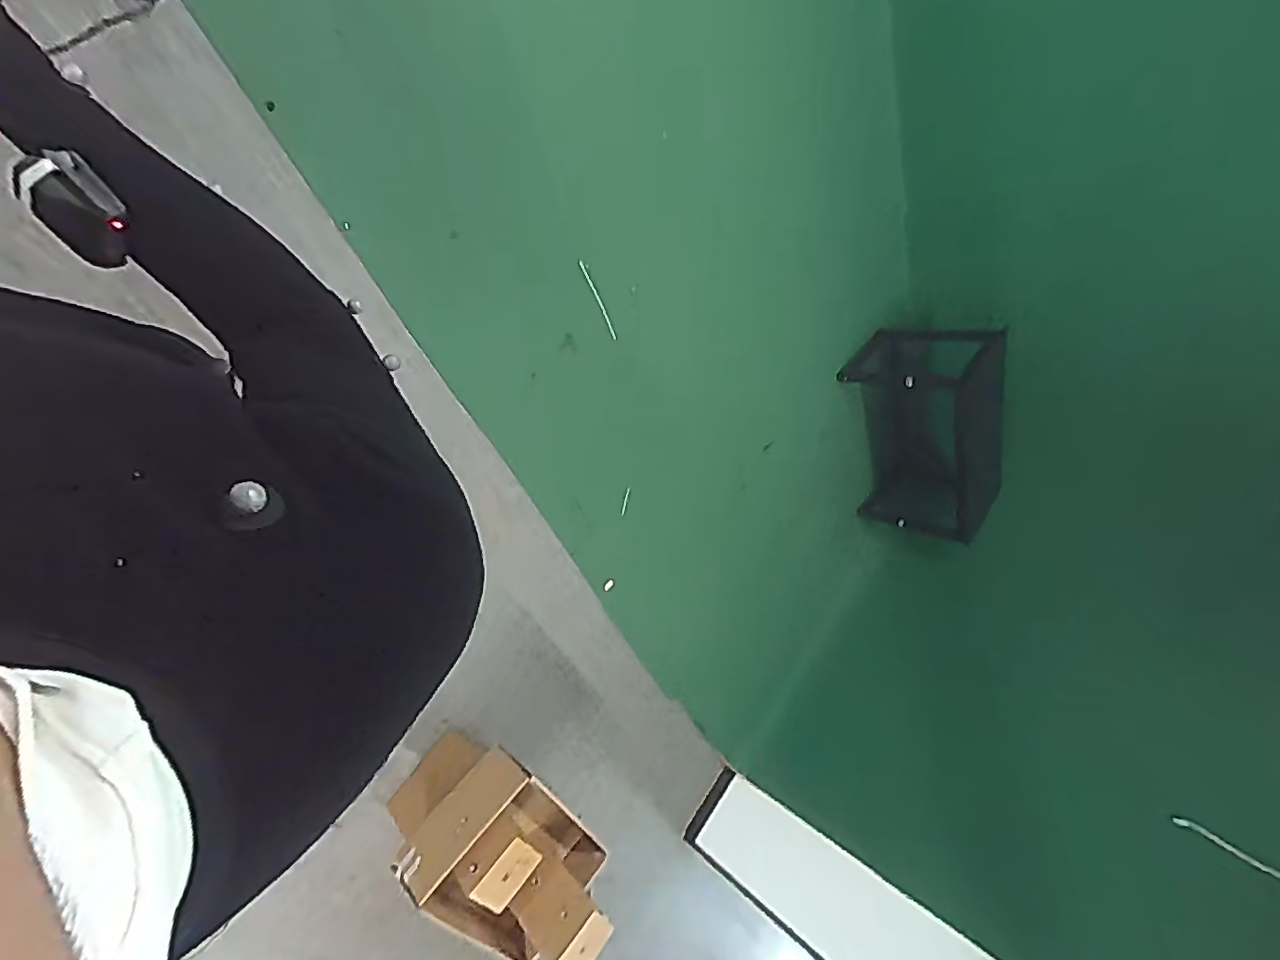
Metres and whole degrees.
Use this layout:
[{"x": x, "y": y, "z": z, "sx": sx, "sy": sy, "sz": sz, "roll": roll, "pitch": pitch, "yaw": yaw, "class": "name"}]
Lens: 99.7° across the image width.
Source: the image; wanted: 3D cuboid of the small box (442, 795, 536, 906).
[{"x": -0.441, "y": 1.059, "z": 1.555, "sx": 0.179, "sy": 0.176, "sz": 0.168, "roll": -46, "pitch": 131, "yaw": -26, "class": "small box"}]

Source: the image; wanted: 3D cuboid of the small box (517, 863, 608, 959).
[{"x": -0.232, "y": 1.295, "z": 1.607, "sx": 0.179, "sy": 0.176, "sz": 0.168, "roll": -44, "pitch": 128, "yaw": -28, "class": "small box"}]

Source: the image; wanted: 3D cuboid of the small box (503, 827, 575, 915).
[{"x": -0.346, "y": 1.258, "z": 1.719, "sx": 0.179, "sy": 0.176, "sz": 0.168, "roll": -42, "pitch": 128, "yaw": -28, "class": "small box"}]
